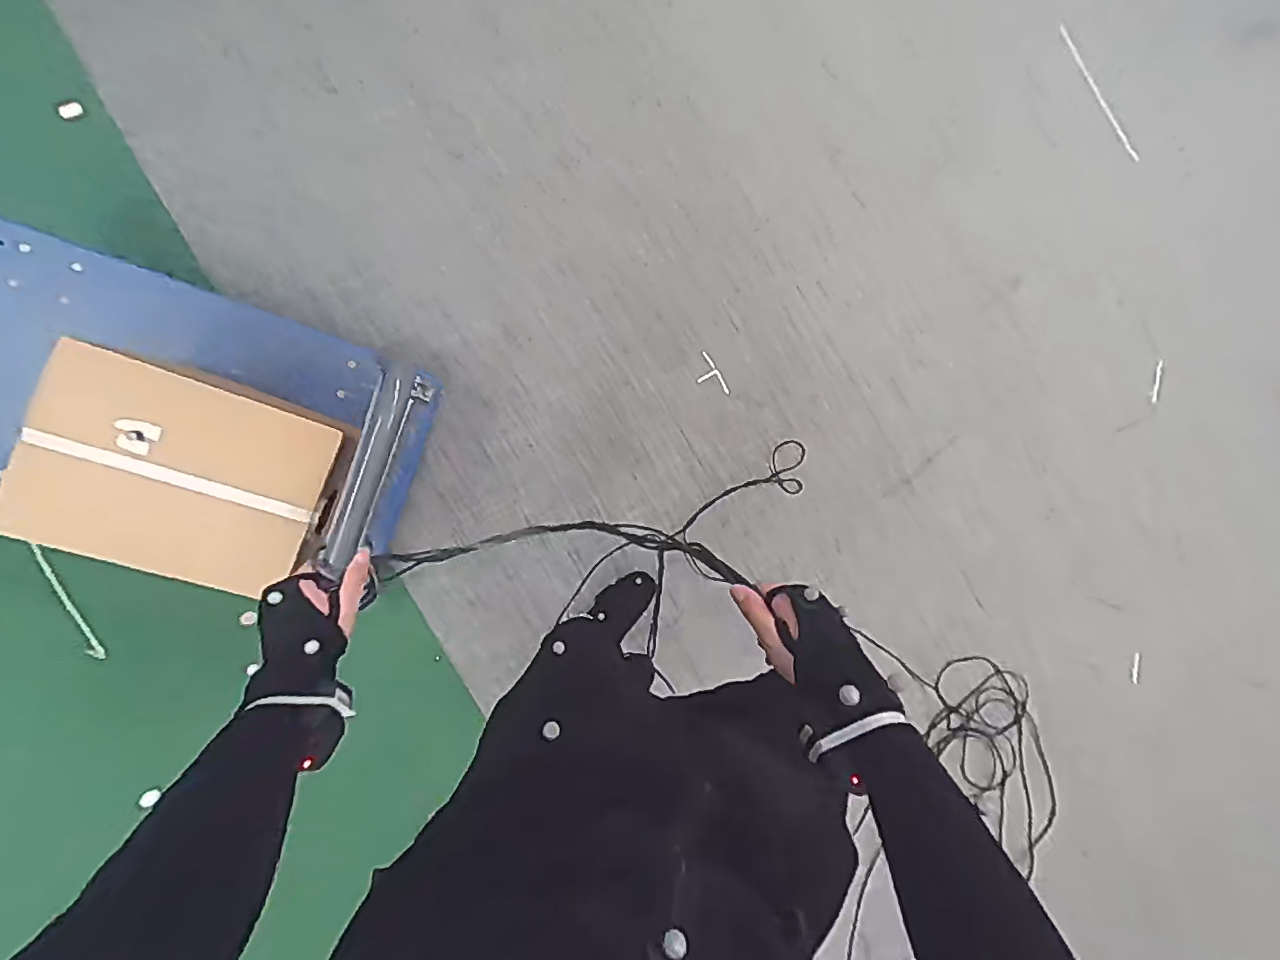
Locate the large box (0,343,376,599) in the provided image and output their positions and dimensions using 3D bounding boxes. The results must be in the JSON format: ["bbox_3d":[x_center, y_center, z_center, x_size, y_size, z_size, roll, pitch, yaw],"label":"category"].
[{"bbox_3d":[-0.770,-0.014,1.003,0.408,0.320,0.320,20,88,-17],"label":"large box"}]
